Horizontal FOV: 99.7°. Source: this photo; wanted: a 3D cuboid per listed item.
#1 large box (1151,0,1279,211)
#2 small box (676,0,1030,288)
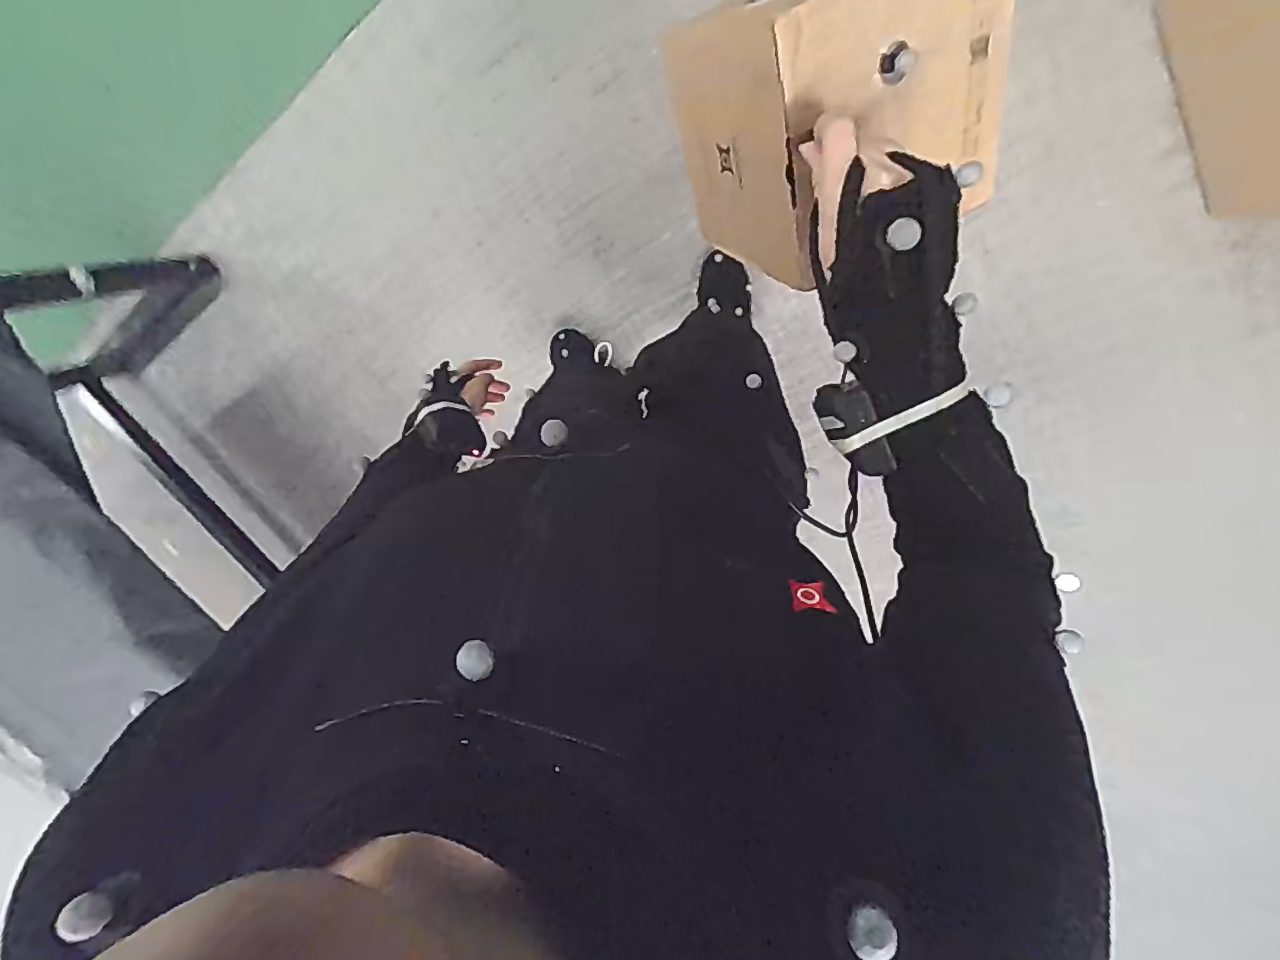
[{"bbox_3d":[1.029,-0.644,0.742,0.320,0.320,0.408,-29,109,24],"label":"large box"},{"bbox_3d":[0.151,-0.278,0.412,0.176,0.179,0.168,-24,132,-4],"label":"small box"}]
